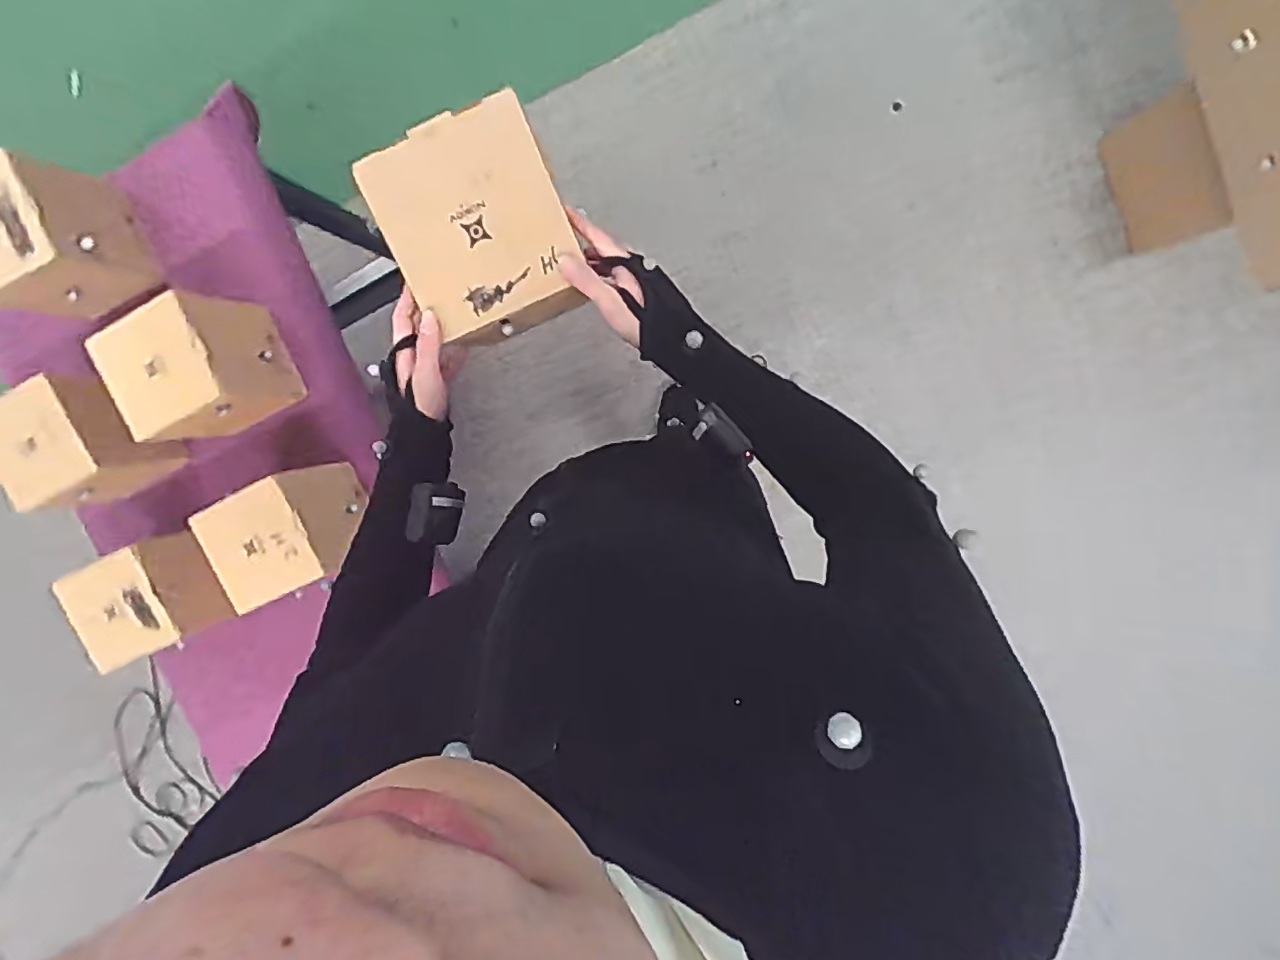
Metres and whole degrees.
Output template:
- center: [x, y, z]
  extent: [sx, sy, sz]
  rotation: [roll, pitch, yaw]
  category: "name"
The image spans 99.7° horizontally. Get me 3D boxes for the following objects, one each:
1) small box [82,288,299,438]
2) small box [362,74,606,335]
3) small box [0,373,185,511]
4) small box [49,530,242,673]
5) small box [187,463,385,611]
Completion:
- center: [-0.701, -0.178, 0.864]
  extent: [0.179, 0.176, 0.168]
  rotation: [-23, 95, 10]
  category: "small box"
- center: [-0.145, -0.266, 0.572]
  extent: [0.168, 0.176, 0.179]
  rotation: [-22, 102, 5]
  category: "small box"
- center: [-0.936, -0.066, 0.908]
  extent: [0.179, 0.176, 0.168]
  rotation: [-24, 96, 8]
  category: "small box"
- center: [-0.824, 0.195, 0.933]
  extent: [0.179, 0.176, 0.168]
  rotation: [-23, 95, 10]
  category: "small box"
- center: [-0.565, 0.085, 0.885]
  extent: [0.179, 0.176, 0.168]
  rotation: [-24, 95, 10]
  category: "small box"
